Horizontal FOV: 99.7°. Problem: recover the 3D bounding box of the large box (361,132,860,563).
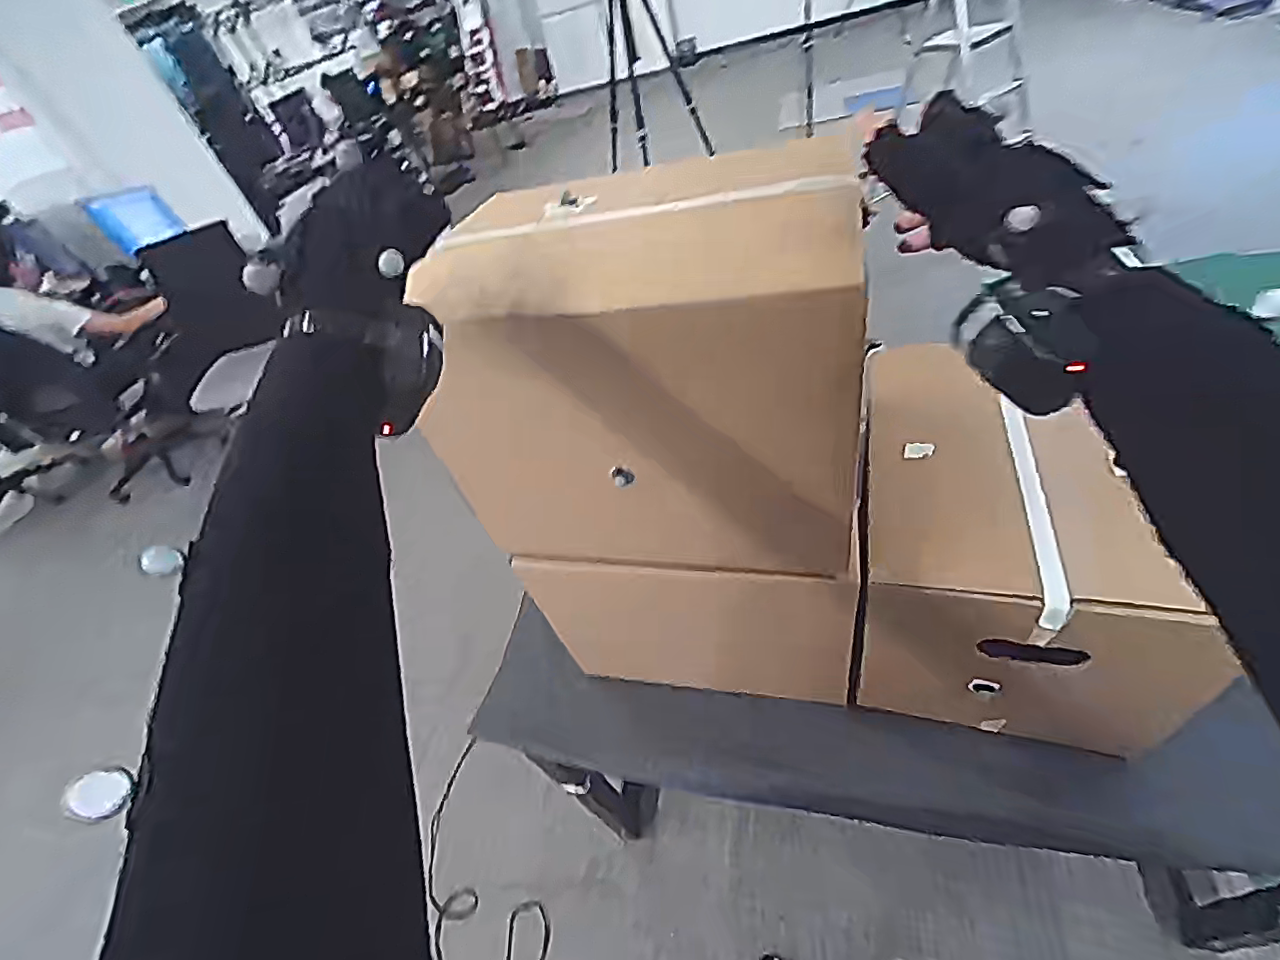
[{"bbox_3d":[0.016,-0.124,0.597,0.408,0.320,0.320,0,46,20],"label":"large box"}]
